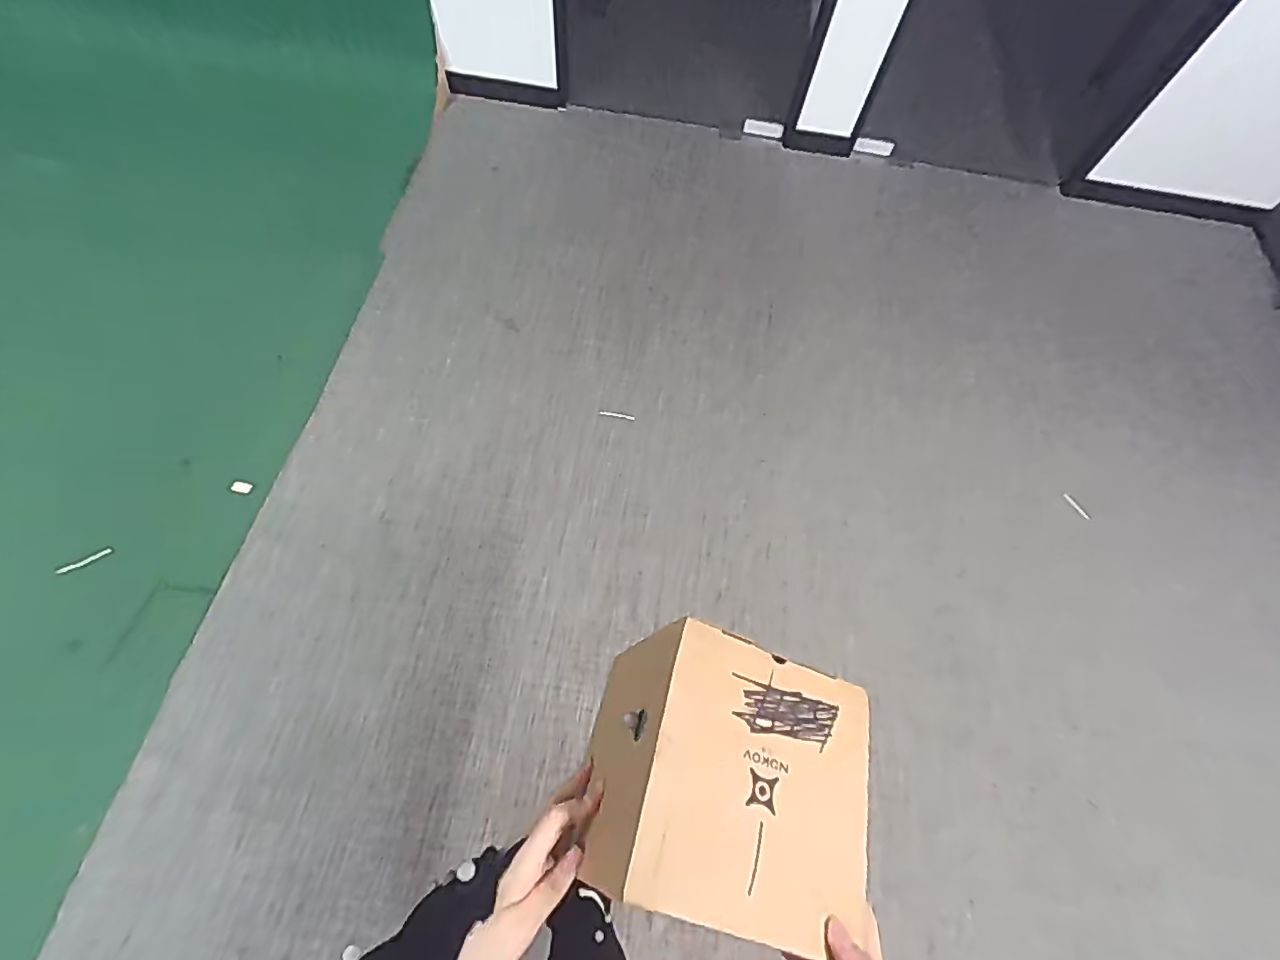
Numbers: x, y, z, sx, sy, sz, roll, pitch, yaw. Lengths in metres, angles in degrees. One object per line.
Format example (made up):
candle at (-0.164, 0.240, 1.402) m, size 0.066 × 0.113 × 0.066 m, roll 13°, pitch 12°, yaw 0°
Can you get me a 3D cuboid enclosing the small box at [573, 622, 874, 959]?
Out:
small box at (0.061, 0.243, 0.433) m, size 0.168 × 0.176 × 0.179 m, roll 25°, pitch 55°, yaw -9°
